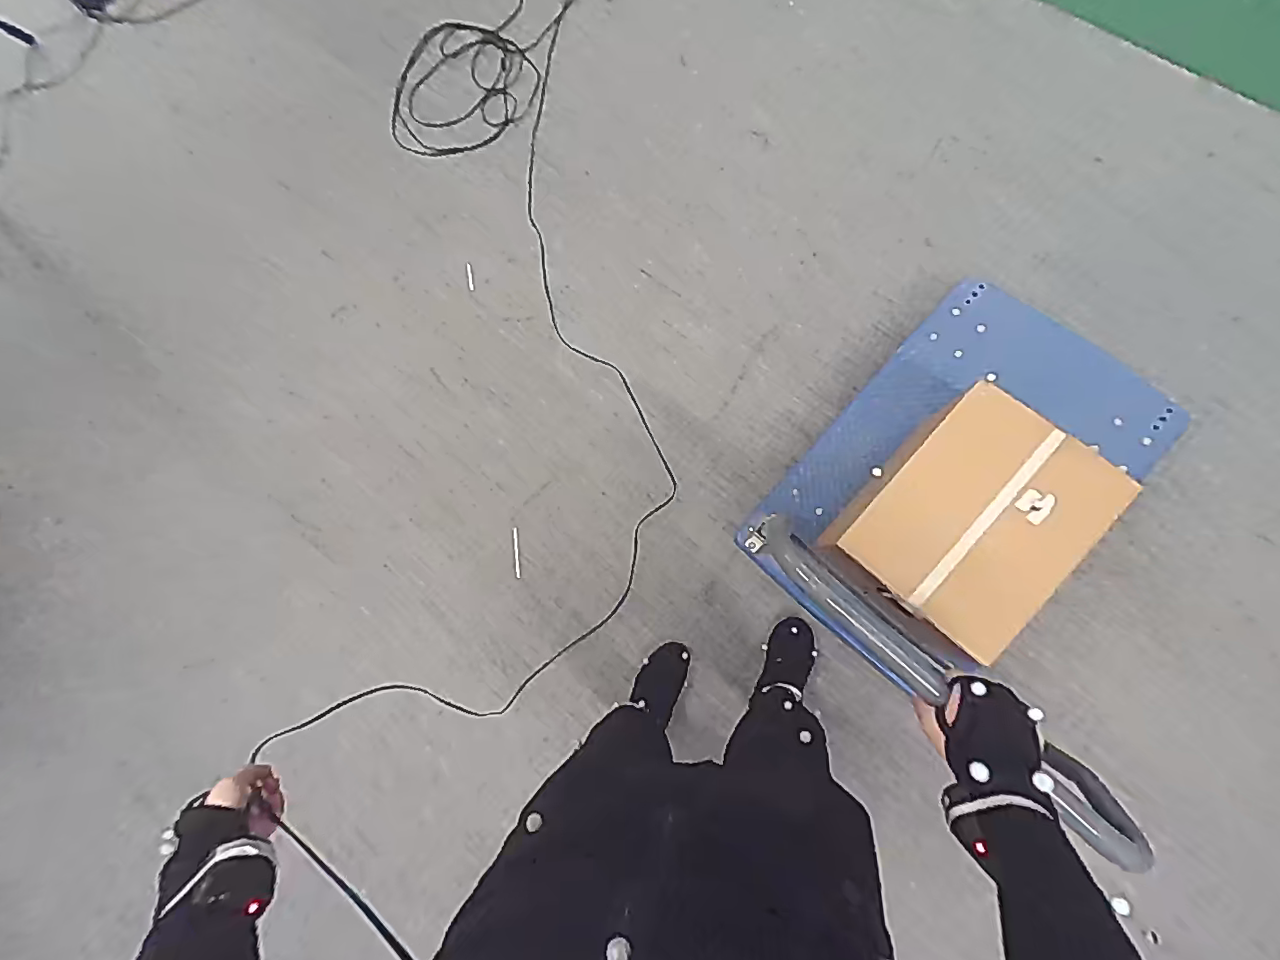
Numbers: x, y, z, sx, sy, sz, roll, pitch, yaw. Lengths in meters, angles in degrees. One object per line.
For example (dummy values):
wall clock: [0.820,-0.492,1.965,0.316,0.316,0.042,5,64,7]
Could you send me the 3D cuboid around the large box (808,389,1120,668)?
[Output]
large box: [0.604,0.103,1.093,0.320,0.320,0.408,41,88,12]
